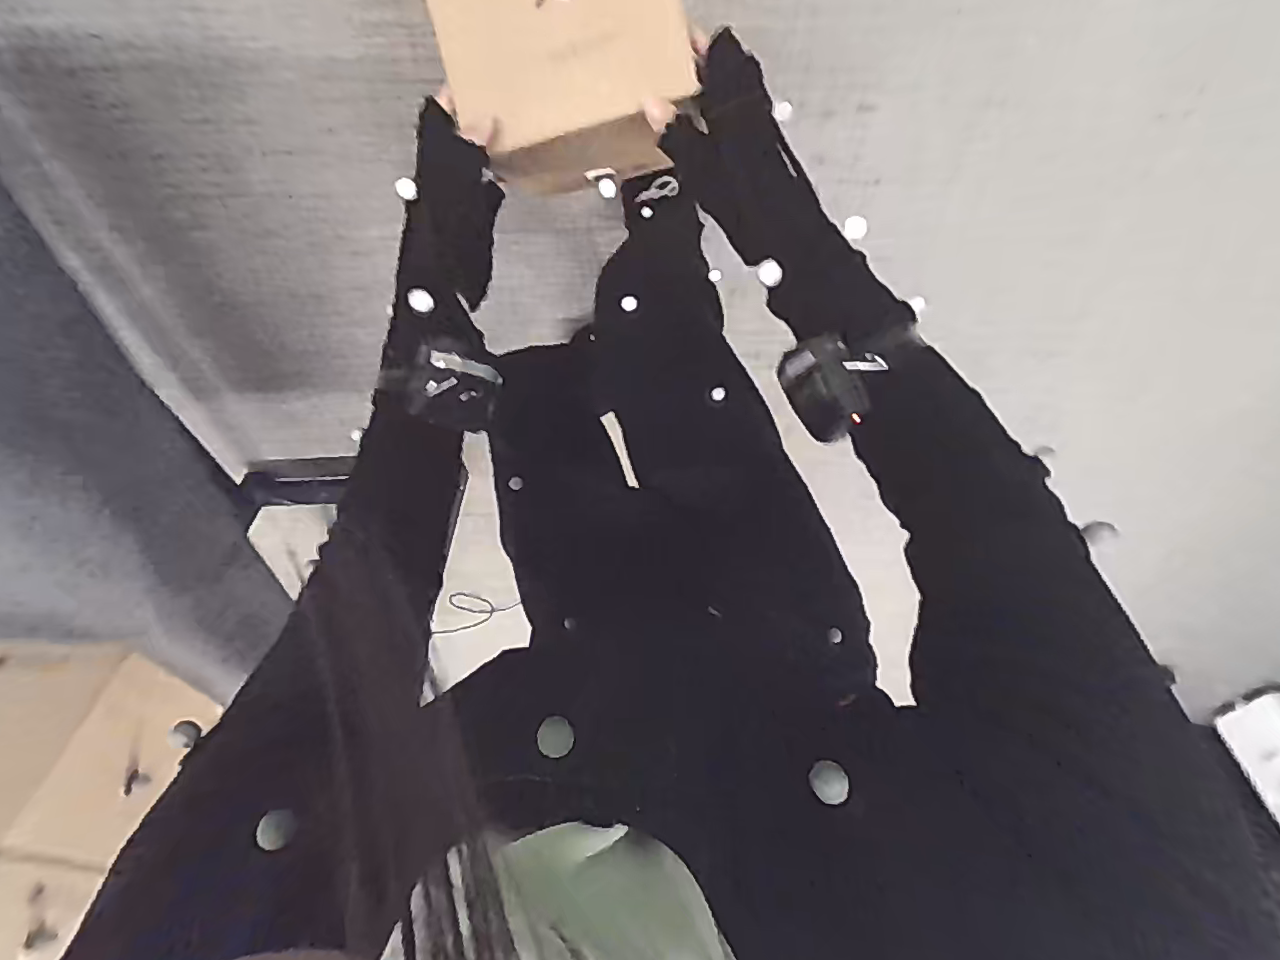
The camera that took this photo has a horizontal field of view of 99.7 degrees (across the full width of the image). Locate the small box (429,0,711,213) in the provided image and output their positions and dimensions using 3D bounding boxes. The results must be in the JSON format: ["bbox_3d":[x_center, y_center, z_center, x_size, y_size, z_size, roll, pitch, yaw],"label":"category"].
[{"bbox_3d":[-0.041,-0.327,0.414,0.168,0.176,0.179,-9,107,13],"label":"small box"}]
